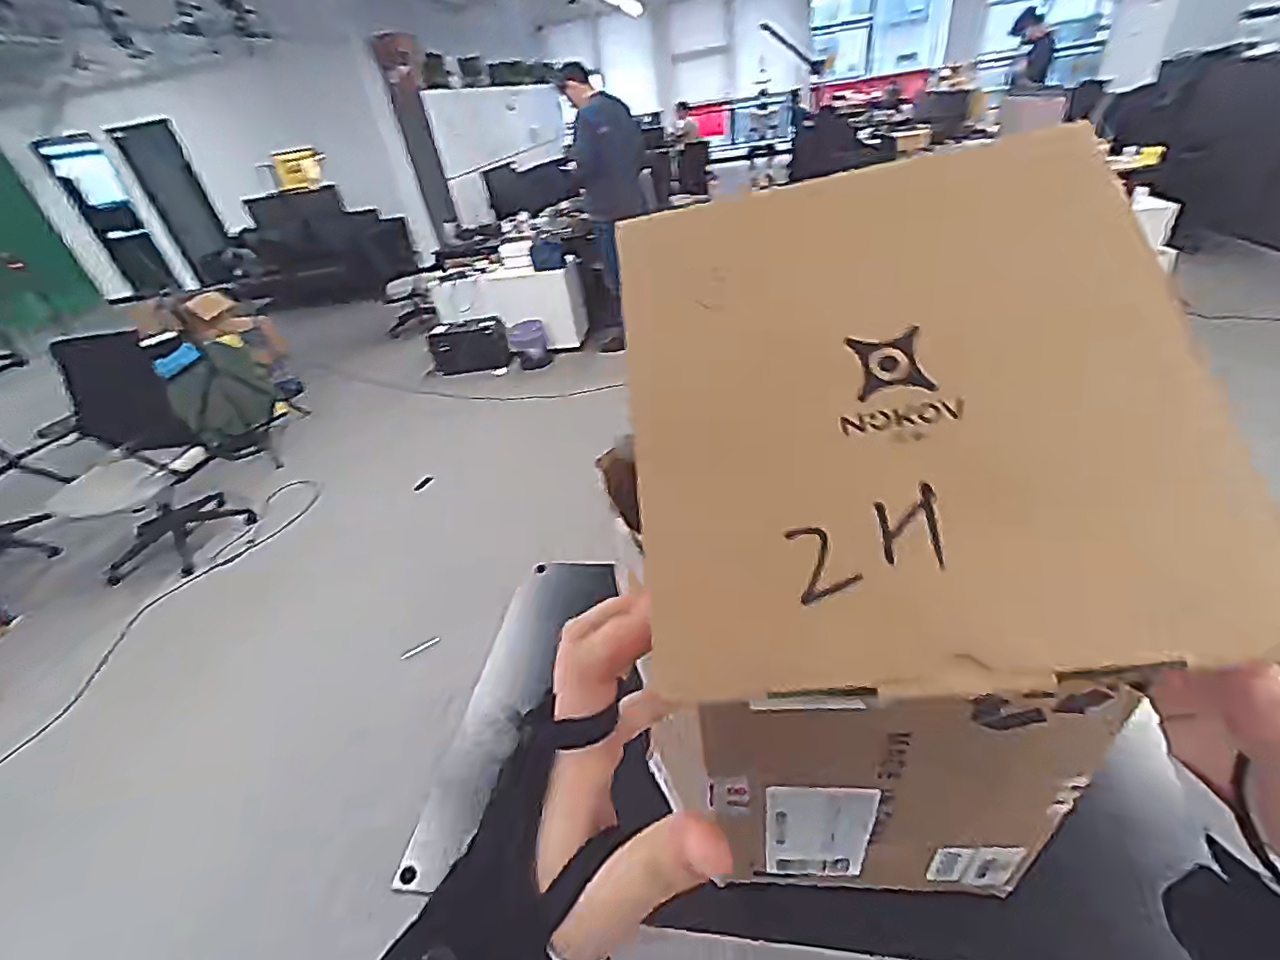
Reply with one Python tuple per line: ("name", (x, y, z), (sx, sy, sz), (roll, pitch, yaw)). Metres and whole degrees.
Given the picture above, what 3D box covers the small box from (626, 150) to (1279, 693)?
("small box", (0.093, -0.002, 0.251), (0.168, 0.176, 0.179), (-8, 72, 9))
